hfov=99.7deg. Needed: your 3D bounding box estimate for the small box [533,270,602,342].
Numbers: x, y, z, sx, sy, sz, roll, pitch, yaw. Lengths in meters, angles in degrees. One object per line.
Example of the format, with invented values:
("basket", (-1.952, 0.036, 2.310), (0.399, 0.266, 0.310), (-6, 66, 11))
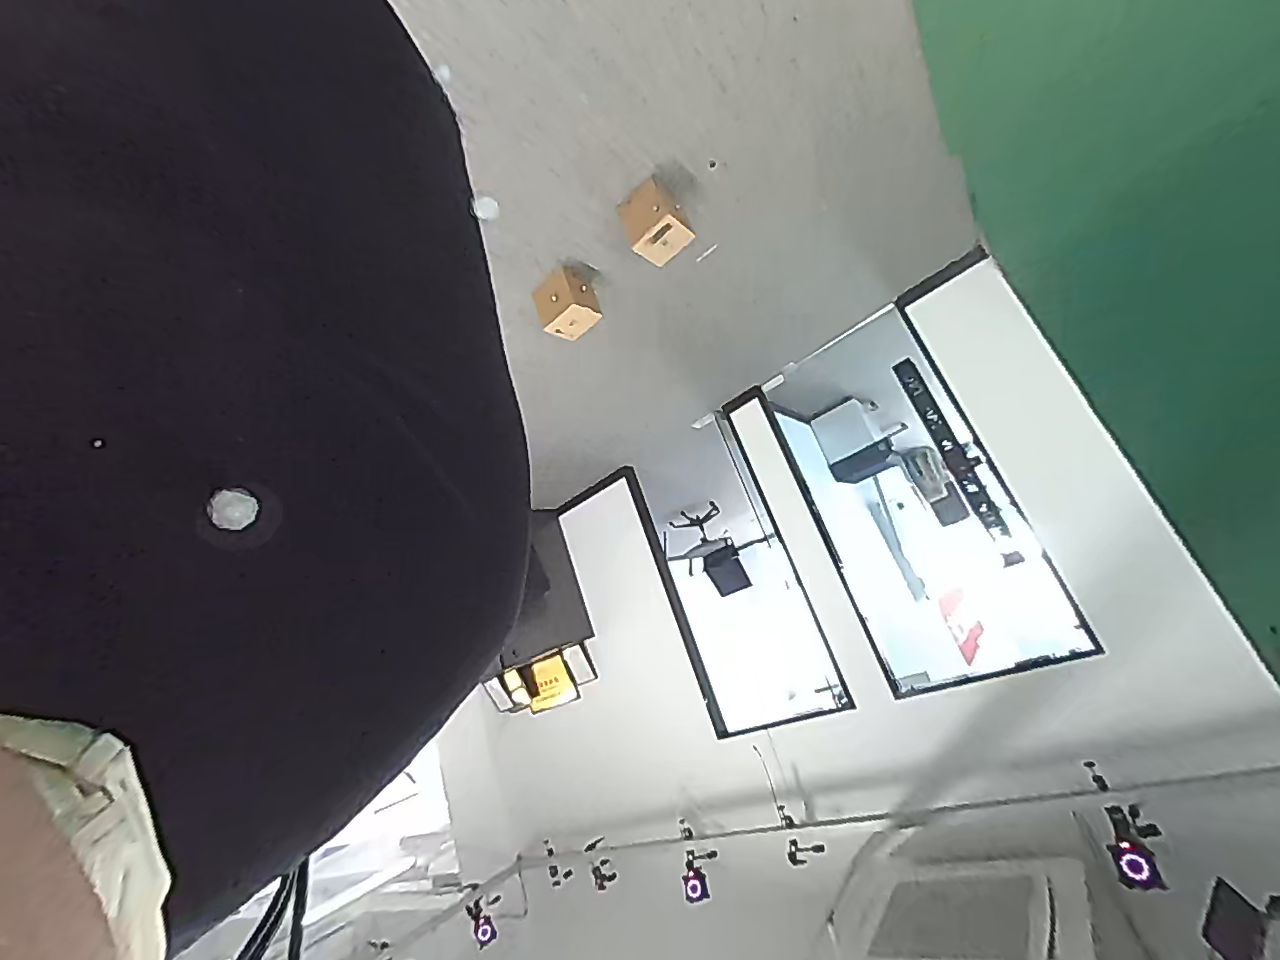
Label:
("small box", (-0.279, -0.657, 2.039), (0.179, 0.176, 0.168), (-31, 160, 30))
